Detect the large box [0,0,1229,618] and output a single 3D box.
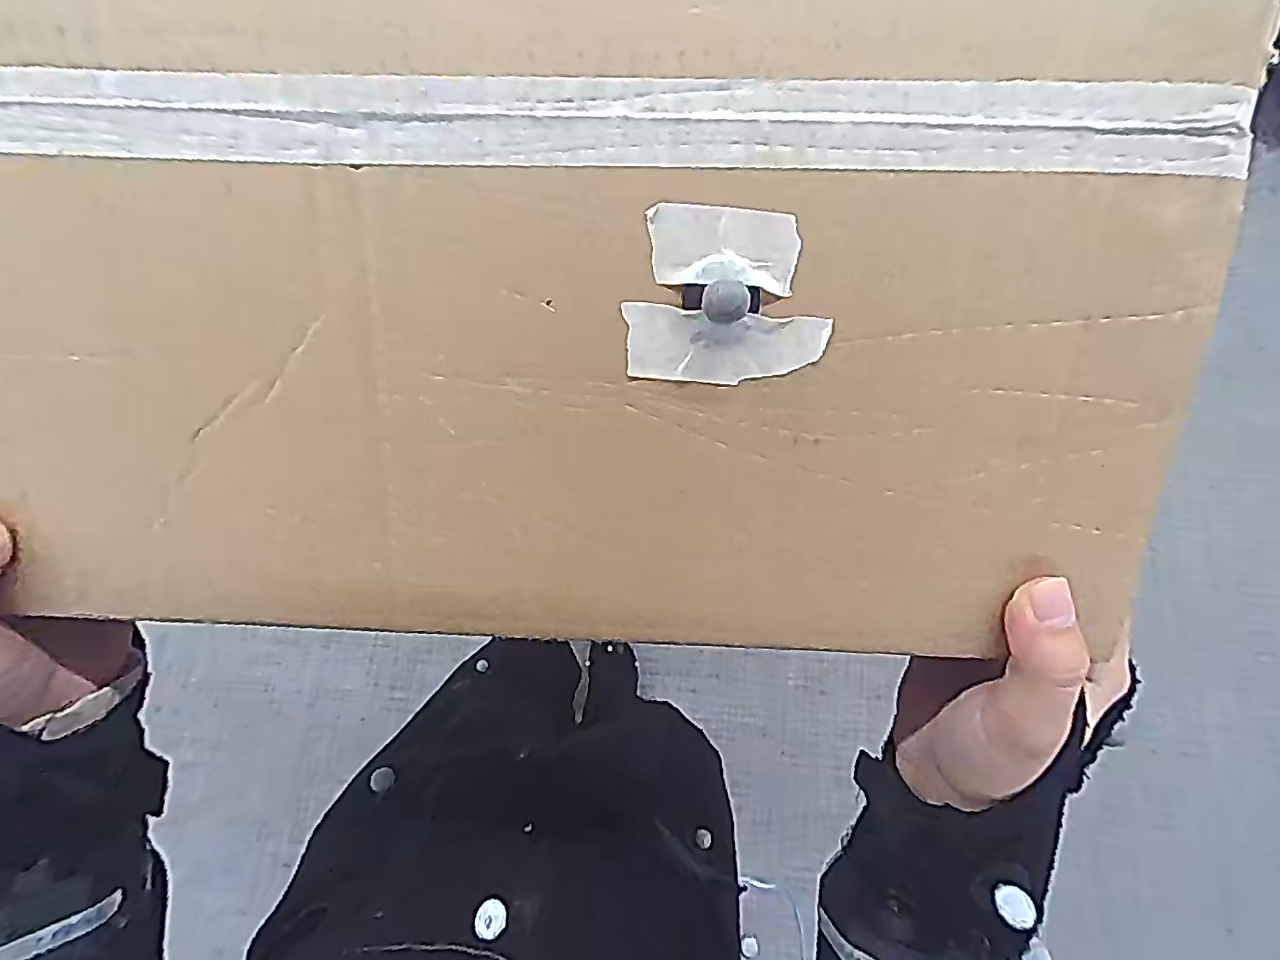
[{"bbox_3d":[-0.035,-0.134,0.309,0.408,0.320,0.320,2,104,0],"label":"large box"}]
